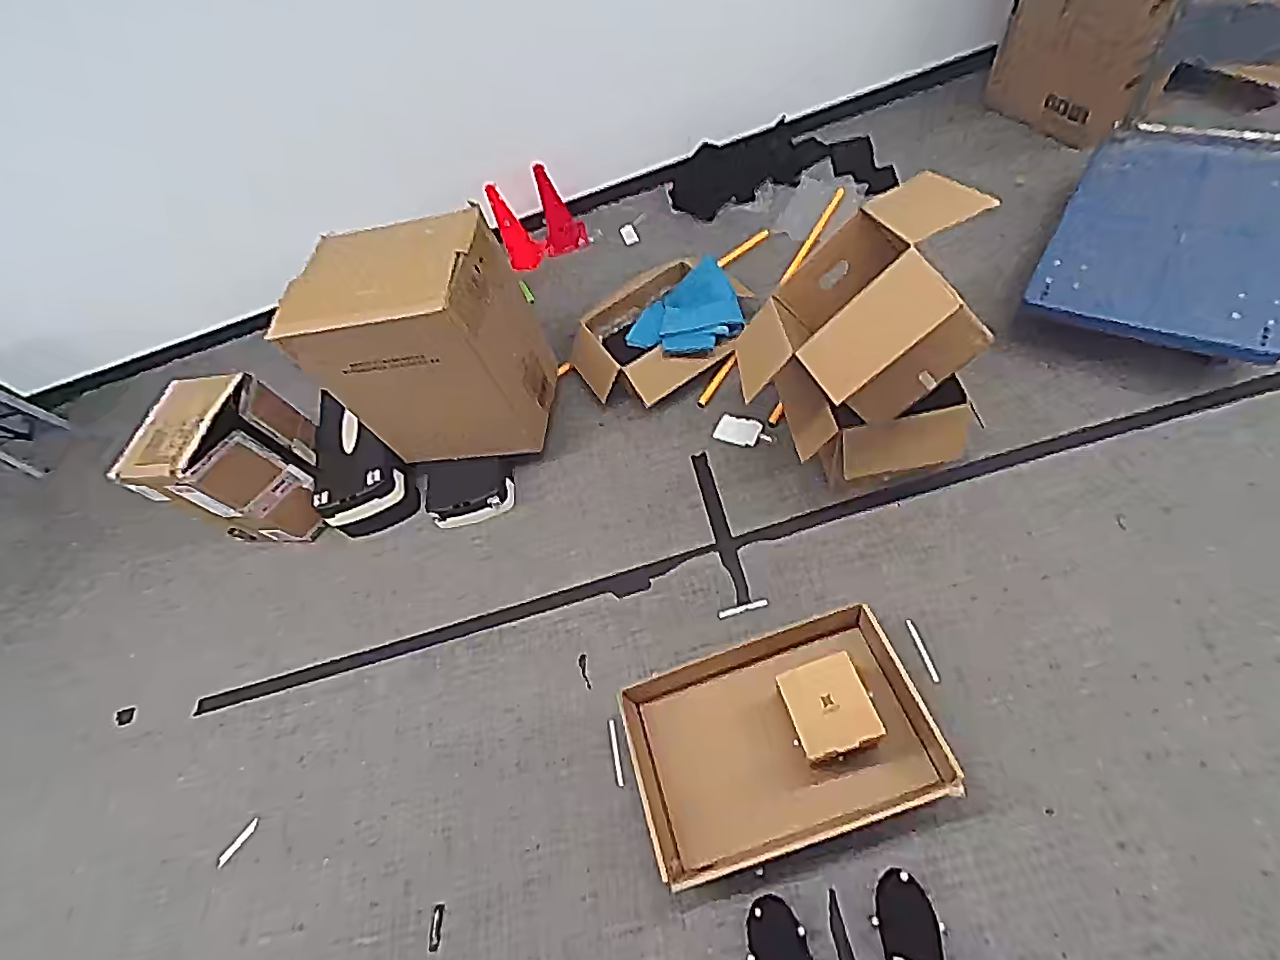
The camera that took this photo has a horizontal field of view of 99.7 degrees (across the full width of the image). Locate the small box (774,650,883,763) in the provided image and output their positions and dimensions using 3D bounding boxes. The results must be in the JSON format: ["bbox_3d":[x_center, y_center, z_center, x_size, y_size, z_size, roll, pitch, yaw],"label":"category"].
[{"bbox_3d":[0.405,0.503,1.192,0.168,0.176,0.179,-21,56,3],"label":"small box"}]
